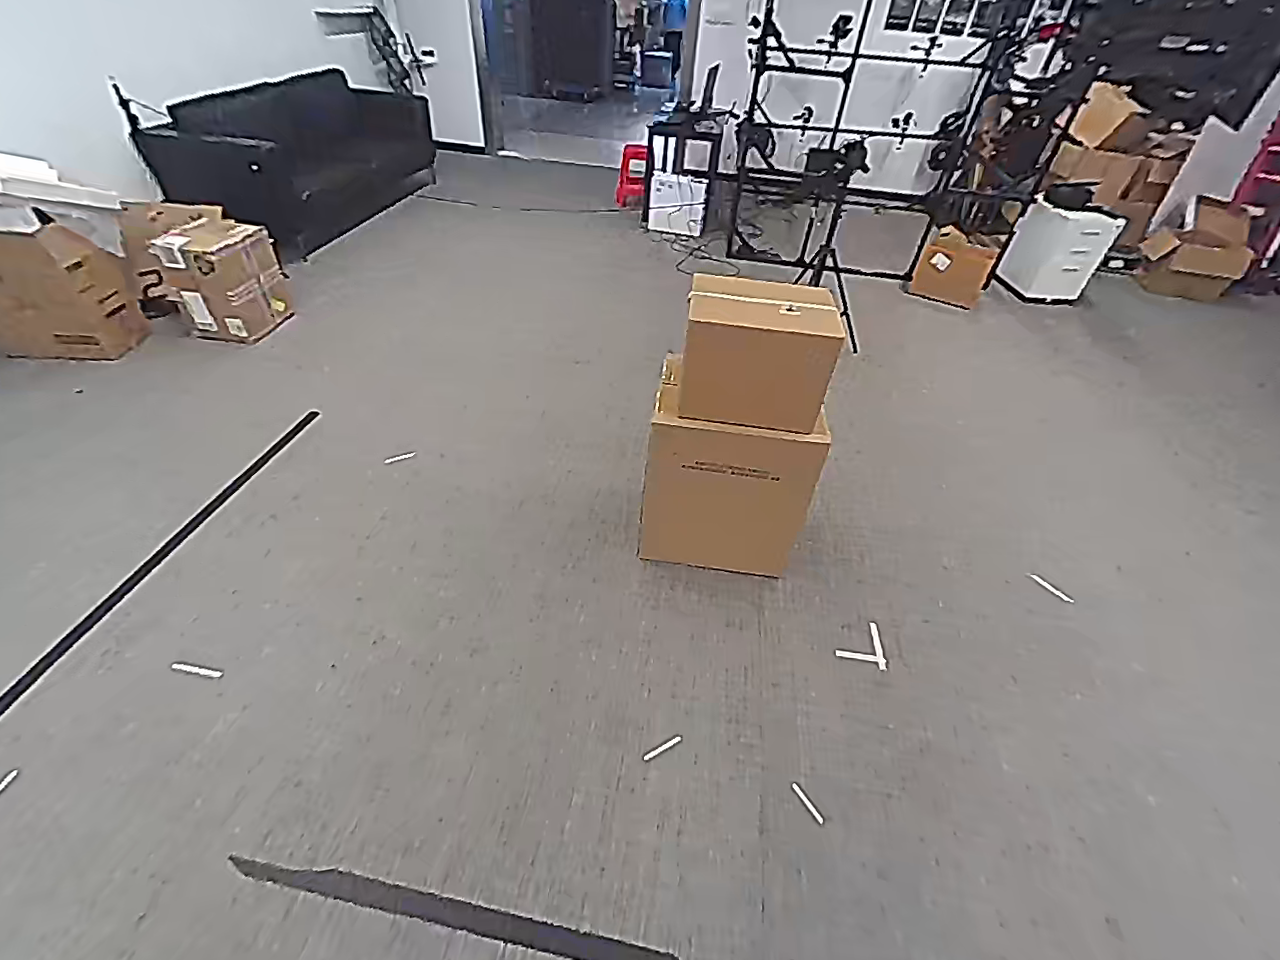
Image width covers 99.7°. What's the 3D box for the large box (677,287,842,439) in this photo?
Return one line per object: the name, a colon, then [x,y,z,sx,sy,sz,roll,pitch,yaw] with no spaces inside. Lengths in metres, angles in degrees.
large box: [0.329,-0.350,1.609,0.408,0.320,0.320,8,42,2]
